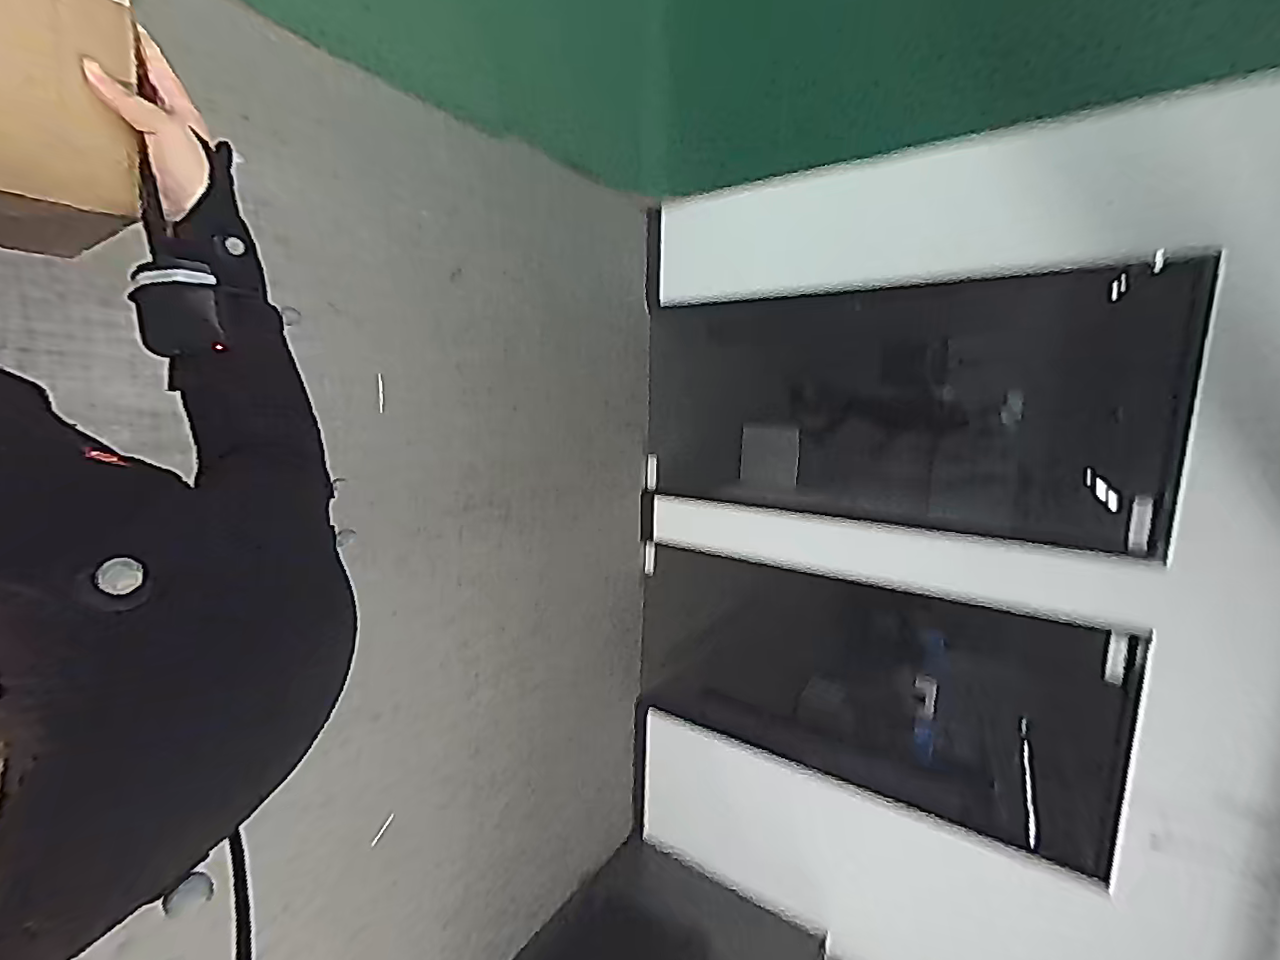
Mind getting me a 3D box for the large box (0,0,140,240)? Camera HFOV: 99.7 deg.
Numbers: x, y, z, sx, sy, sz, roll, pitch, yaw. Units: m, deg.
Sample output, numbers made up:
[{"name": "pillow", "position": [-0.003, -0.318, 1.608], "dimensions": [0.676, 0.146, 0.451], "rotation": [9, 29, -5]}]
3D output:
[{"name": "large box", "position": [-0.618, -0.363, 0.319], "dimensions": [0.408, 0.320, 0.320], "rotation": [-10, 108, -53]}]
